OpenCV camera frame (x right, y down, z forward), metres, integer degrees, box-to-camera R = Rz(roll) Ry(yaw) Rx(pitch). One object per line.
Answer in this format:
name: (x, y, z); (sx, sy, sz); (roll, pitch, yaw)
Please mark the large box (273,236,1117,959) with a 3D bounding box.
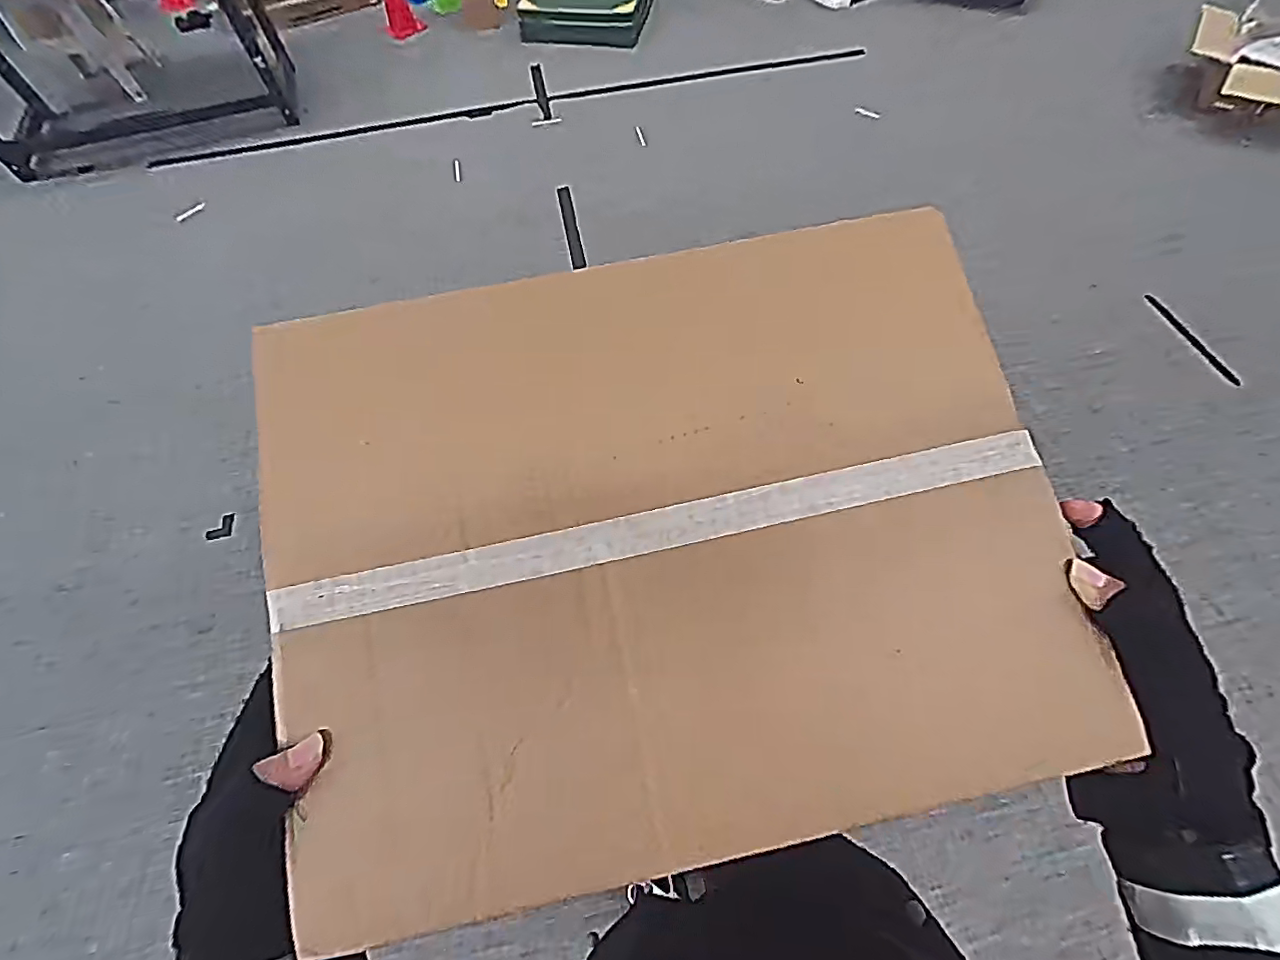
large box: (0.016, 0.068, 0.434); (0.408, 0.320, 0.320); (-12, 77, -3)
